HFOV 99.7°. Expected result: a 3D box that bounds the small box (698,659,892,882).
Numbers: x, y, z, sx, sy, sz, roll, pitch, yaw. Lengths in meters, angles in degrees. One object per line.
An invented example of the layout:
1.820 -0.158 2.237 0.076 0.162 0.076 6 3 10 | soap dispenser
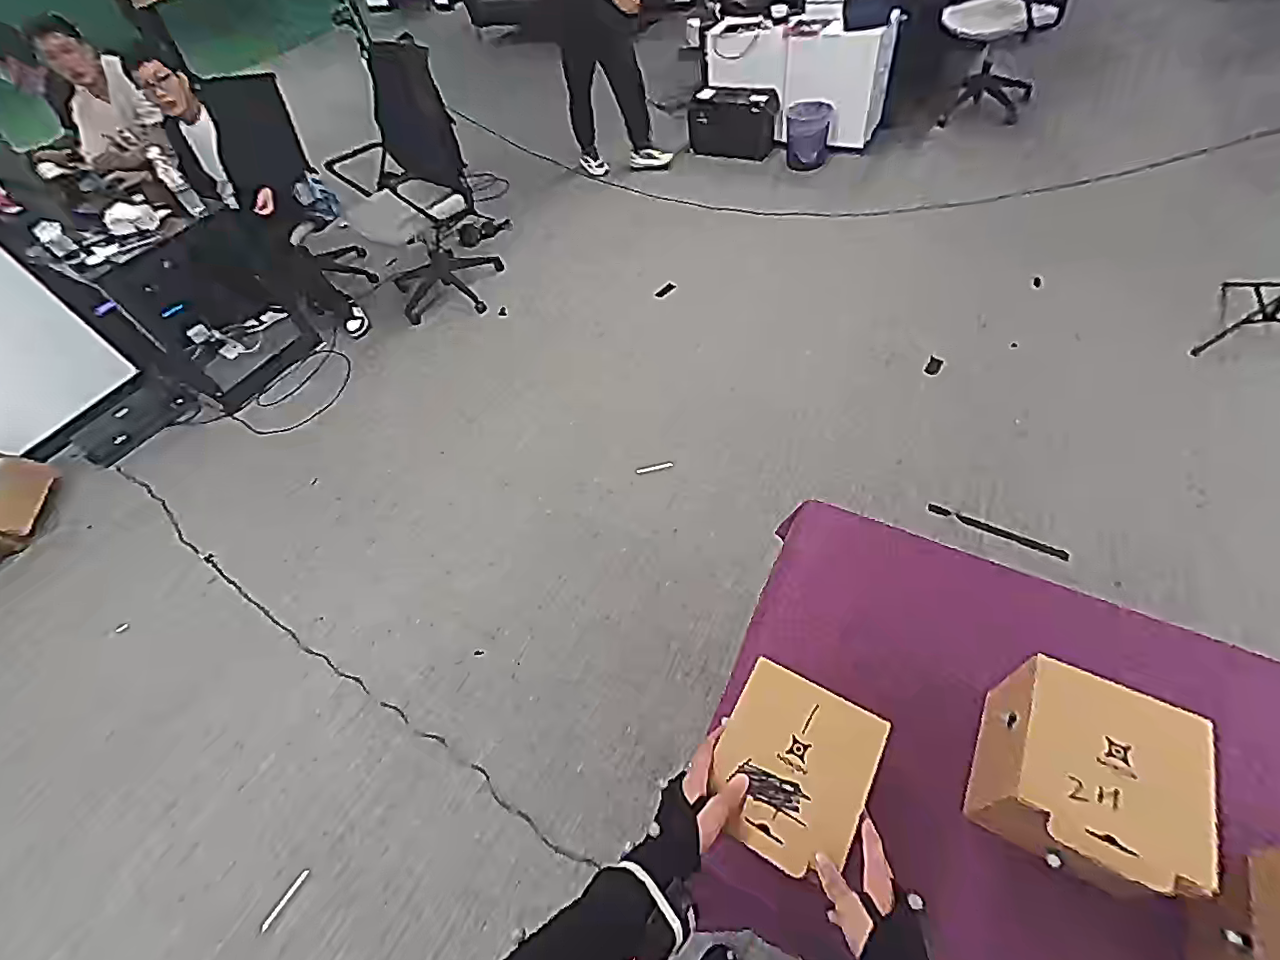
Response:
0.189 0.366 0.678 0.168 0.176 0.179 23 59 24 | small box

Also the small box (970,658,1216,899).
0.515 0.349 0.635 0.168 0.176 0.179 21 58 24 | small box
